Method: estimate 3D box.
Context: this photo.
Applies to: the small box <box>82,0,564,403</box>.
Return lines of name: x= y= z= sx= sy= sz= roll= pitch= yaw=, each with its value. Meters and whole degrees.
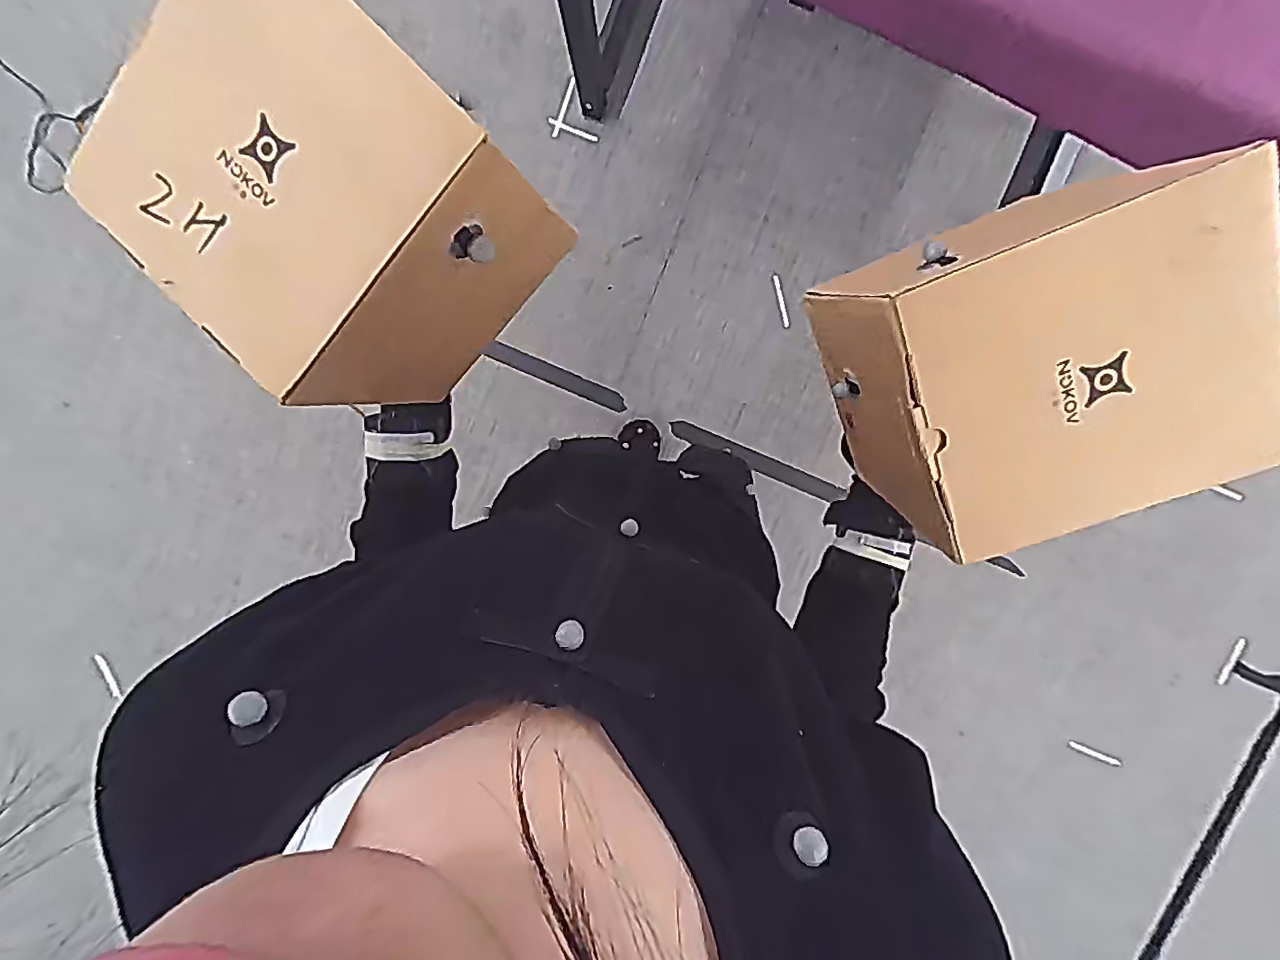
small box: x=-0.169 y=-0.169 z=0.347 sx=0.168 sy=0.176 sz=0.179 roll=45 pitch=103 yaw=0

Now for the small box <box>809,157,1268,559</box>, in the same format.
small box: x=0.238 y=-0.080 z=0.362 sx=0.179 sy=0.176 sz=0.168 roll=-21 pitch=108 yaw=9
